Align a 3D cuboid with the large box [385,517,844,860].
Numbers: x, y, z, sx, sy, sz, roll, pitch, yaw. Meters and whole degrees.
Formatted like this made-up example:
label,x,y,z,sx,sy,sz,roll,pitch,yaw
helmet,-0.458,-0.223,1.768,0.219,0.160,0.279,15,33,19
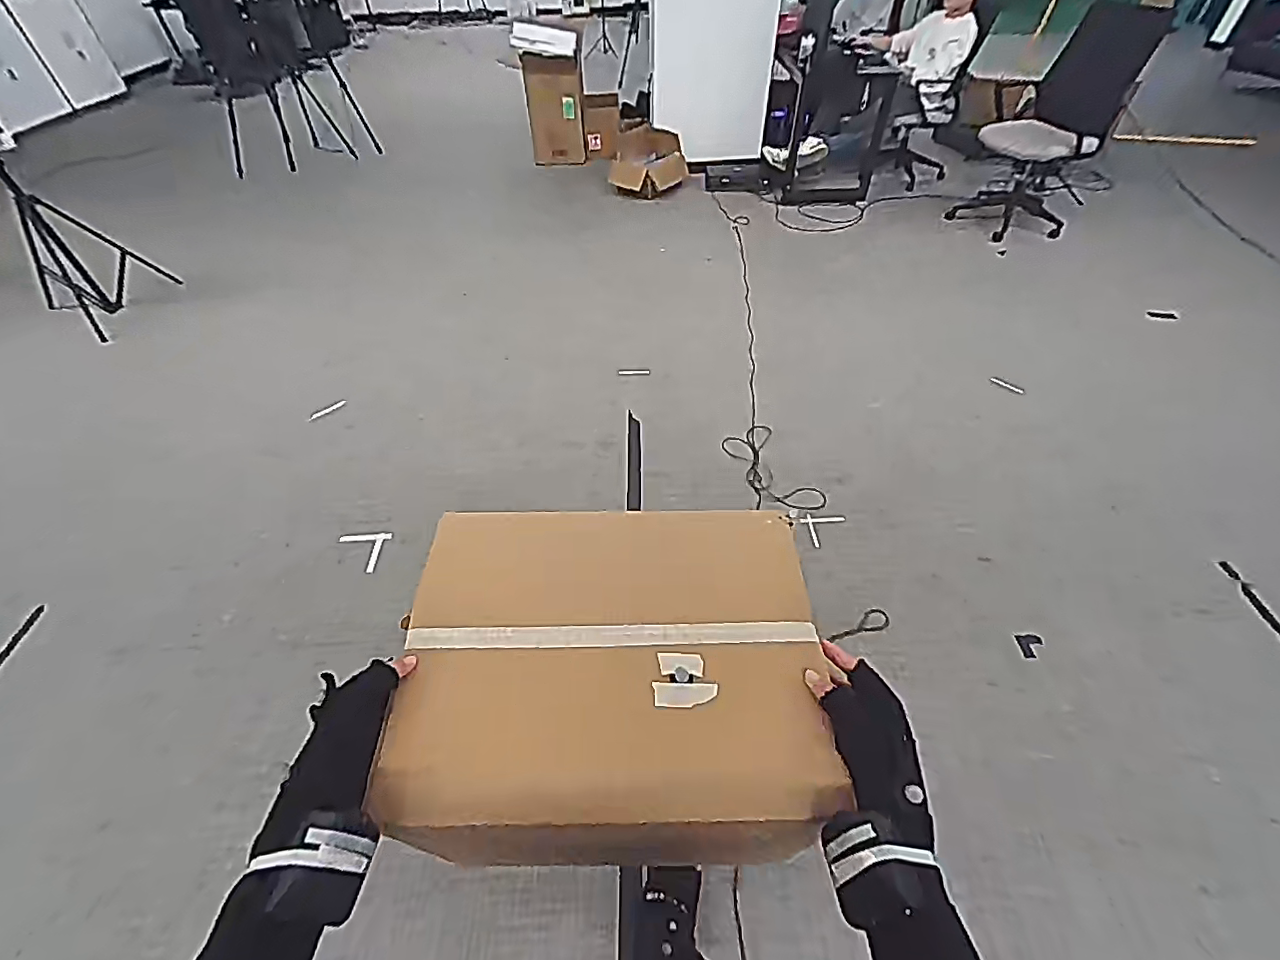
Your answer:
label,x,y,z,sx,sy,sz,roll,pitch,yaw
large box,-0.026,0.259,0.668,0.408,0.320,0.320,0,50,-1
